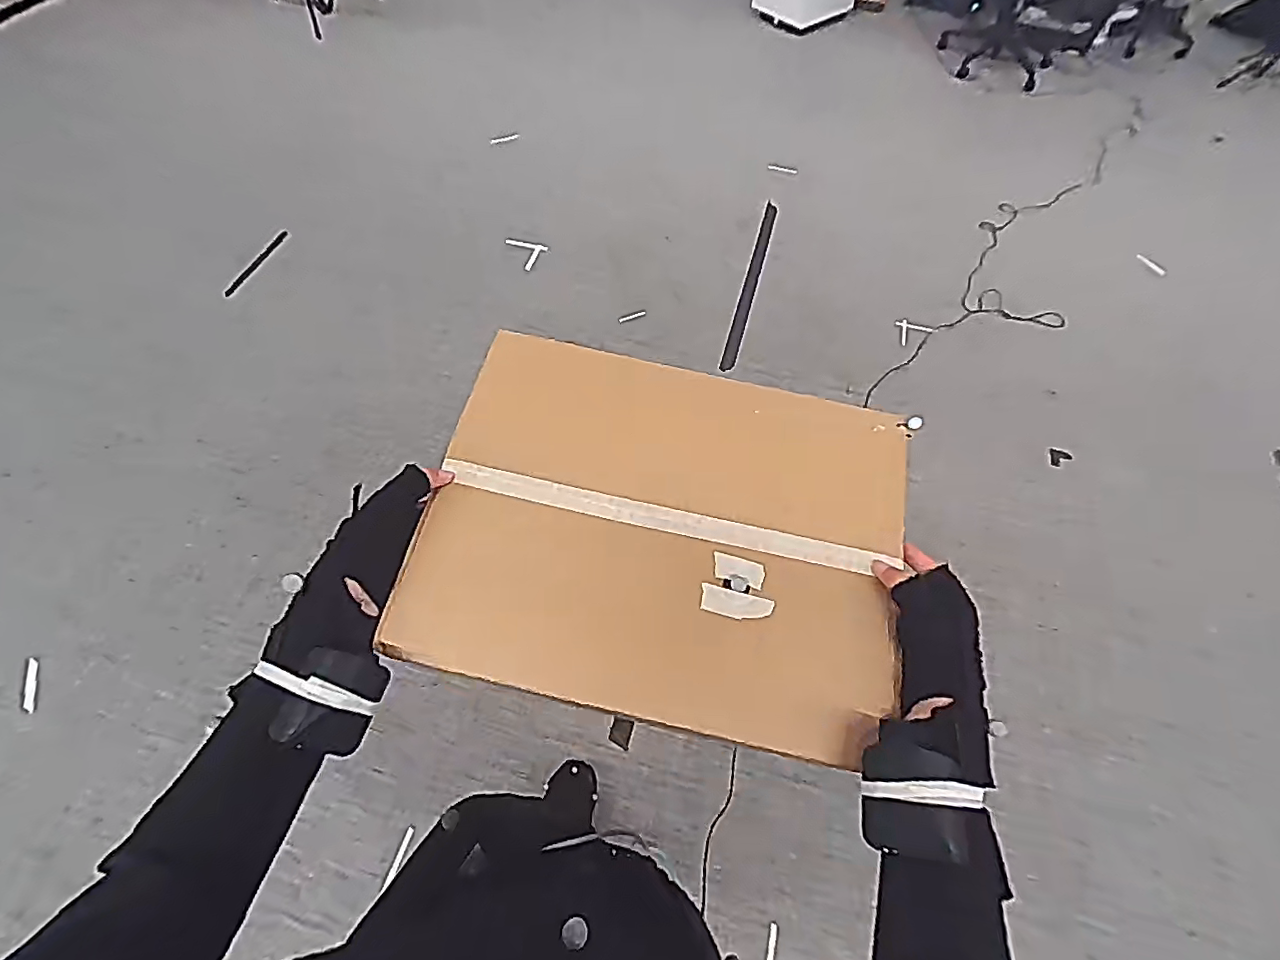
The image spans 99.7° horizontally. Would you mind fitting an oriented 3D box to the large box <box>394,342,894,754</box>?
[{"bbox_3d":[0.016,0.094,0.617,0.408,0.320,0.320,13,68,2],"label":"large box"}]
